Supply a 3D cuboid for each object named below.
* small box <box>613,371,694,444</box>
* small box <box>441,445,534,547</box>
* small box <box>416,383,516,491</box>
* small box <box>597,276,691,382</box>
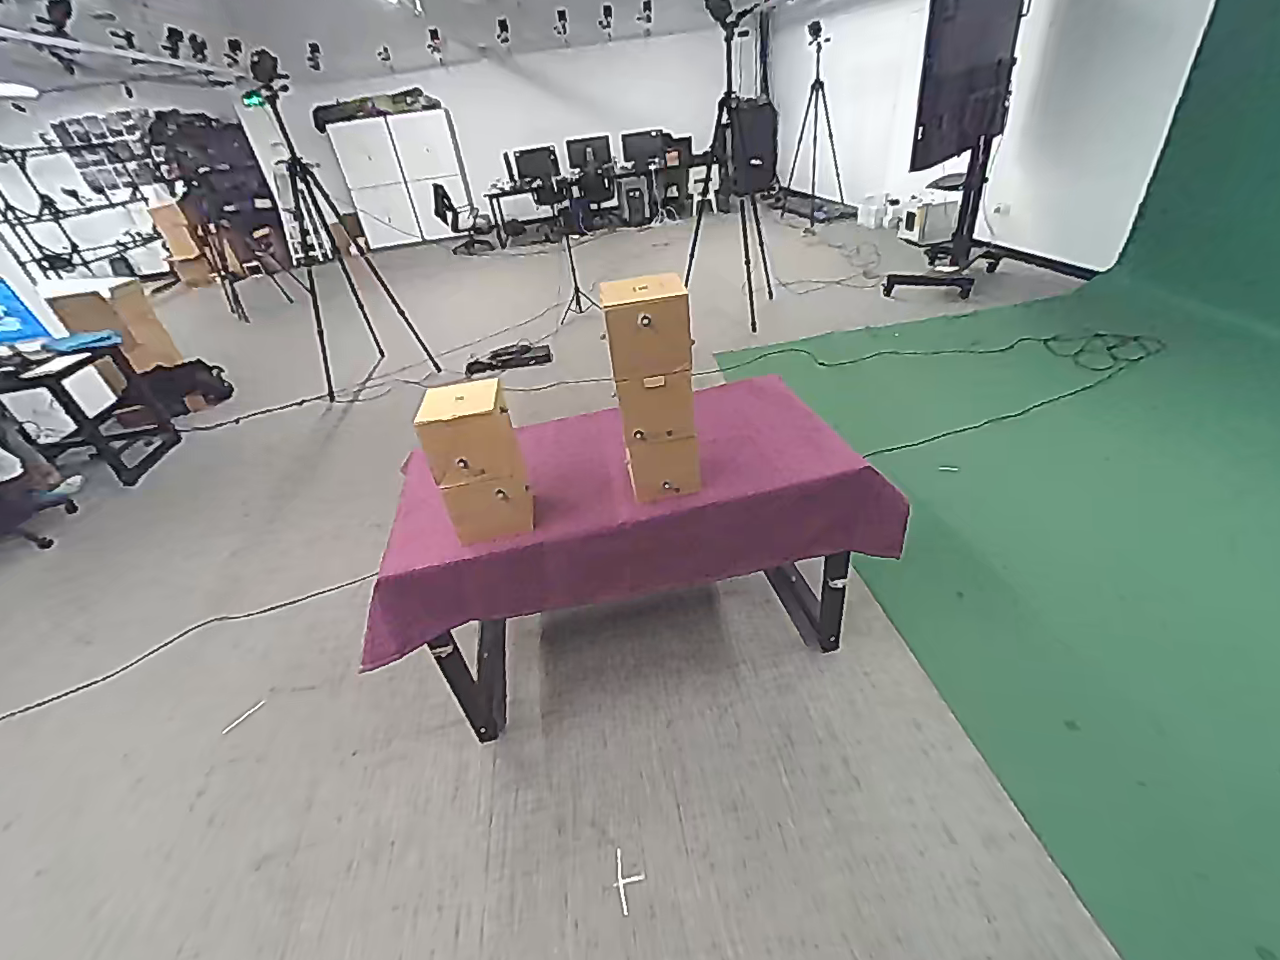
[{"bbox_3d":[0.028,-0.196,1.271,0.168,0.176,0.179,-10,33,-1],"label":"small box"},{"bbox_3d":[-0.359,0.039,1.314,0.179,0.176,0.168,-11,33,-3],"label":"small box"},{"bbox_3d":[-0.385,-0.099,1.231,0.168,0.176,0.179,-11,35,-3],"label":"small box"},{"bbox_3d":[0.009,-0.326,1.174,0.179,0.176,0.168,-9,36,0],"label":"small box"}]
